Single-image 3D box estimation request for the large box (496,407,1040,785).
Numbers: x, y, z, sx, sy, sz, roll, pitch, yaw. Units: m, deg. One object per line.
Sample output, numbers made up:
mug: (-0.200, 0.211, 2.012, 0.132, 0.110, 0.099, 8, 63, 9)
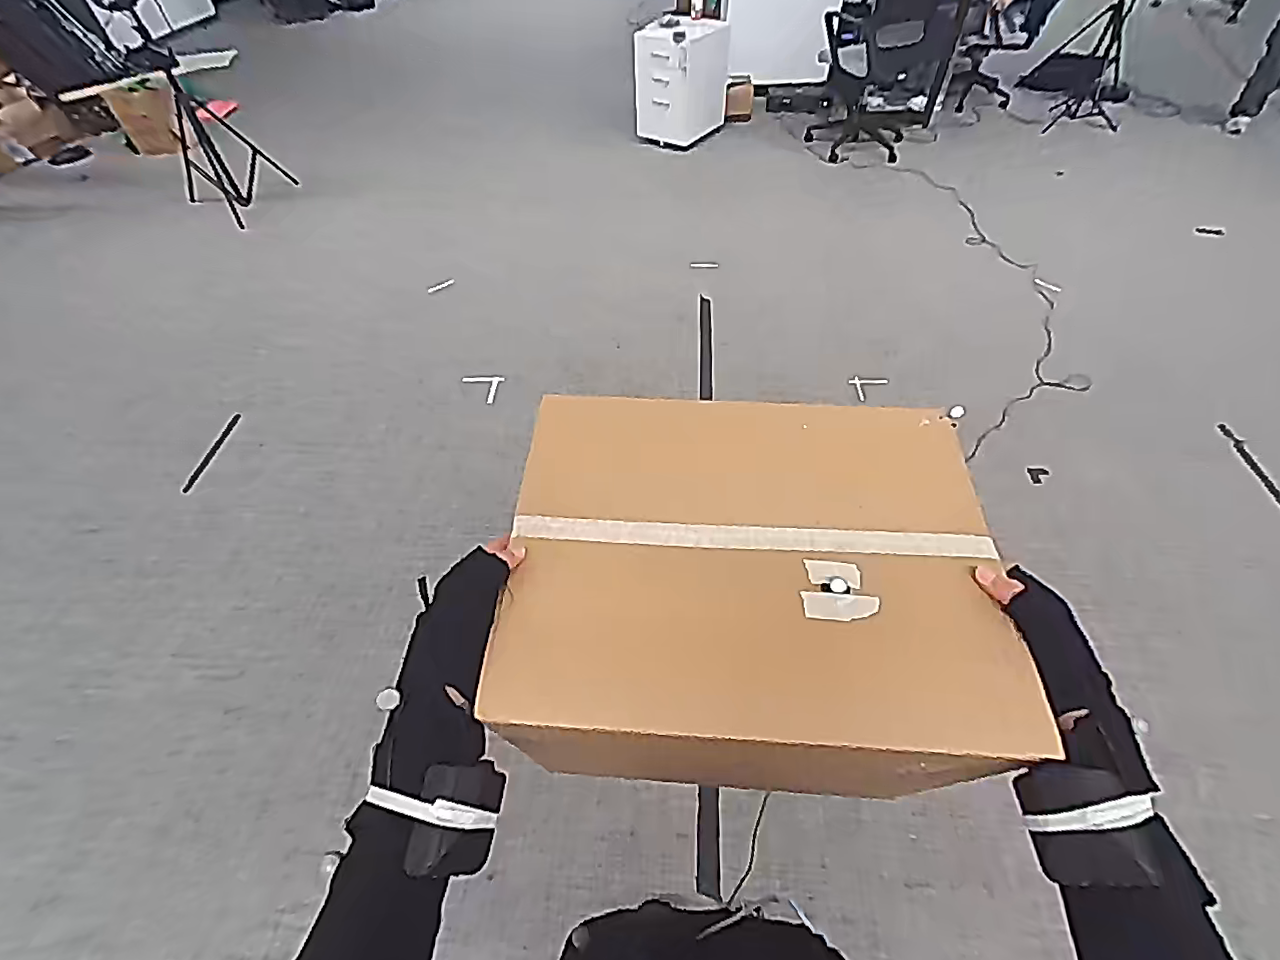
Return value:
large box: (0.097, 0.138, 0.596, 0.408, 0.320, 0.320, 2, 57, 3)
